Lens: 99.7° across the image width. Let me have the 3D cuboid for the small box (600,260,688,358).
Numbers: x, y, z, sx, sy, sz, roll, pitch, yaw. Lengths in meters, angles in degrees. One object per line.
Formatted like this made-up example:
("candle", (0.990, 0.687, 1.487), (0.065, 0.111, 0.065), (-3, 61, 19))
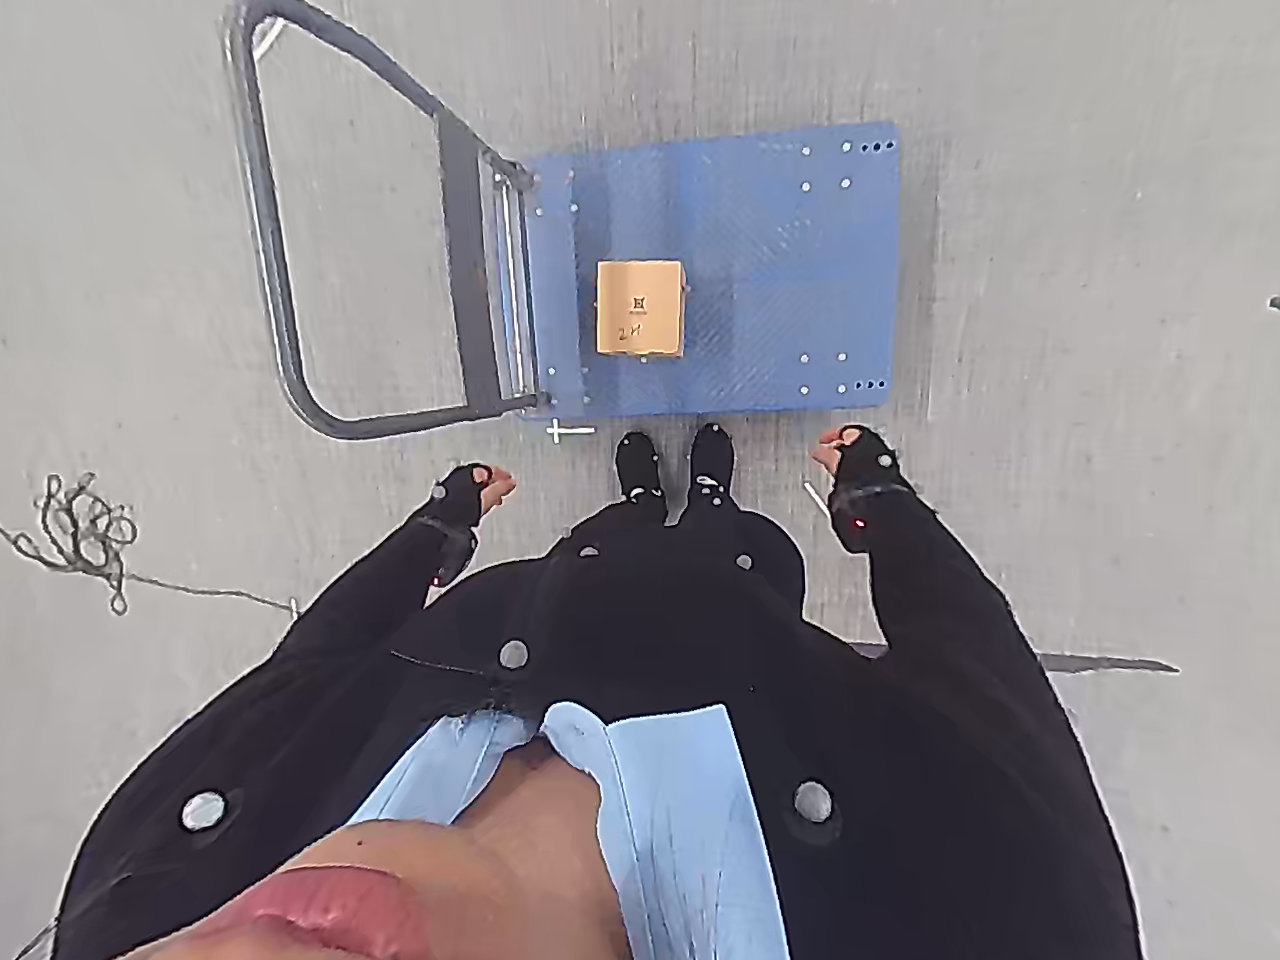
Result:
("small box", (0.014, -0.352, 1.136), (0.168, 0.176, 0.179), (3, 101, 7))

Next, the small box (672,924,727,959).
("small box", (0.185, 1.522, 1.658), (0.168, 0.176, 0.179), (-1, 100, 7))
